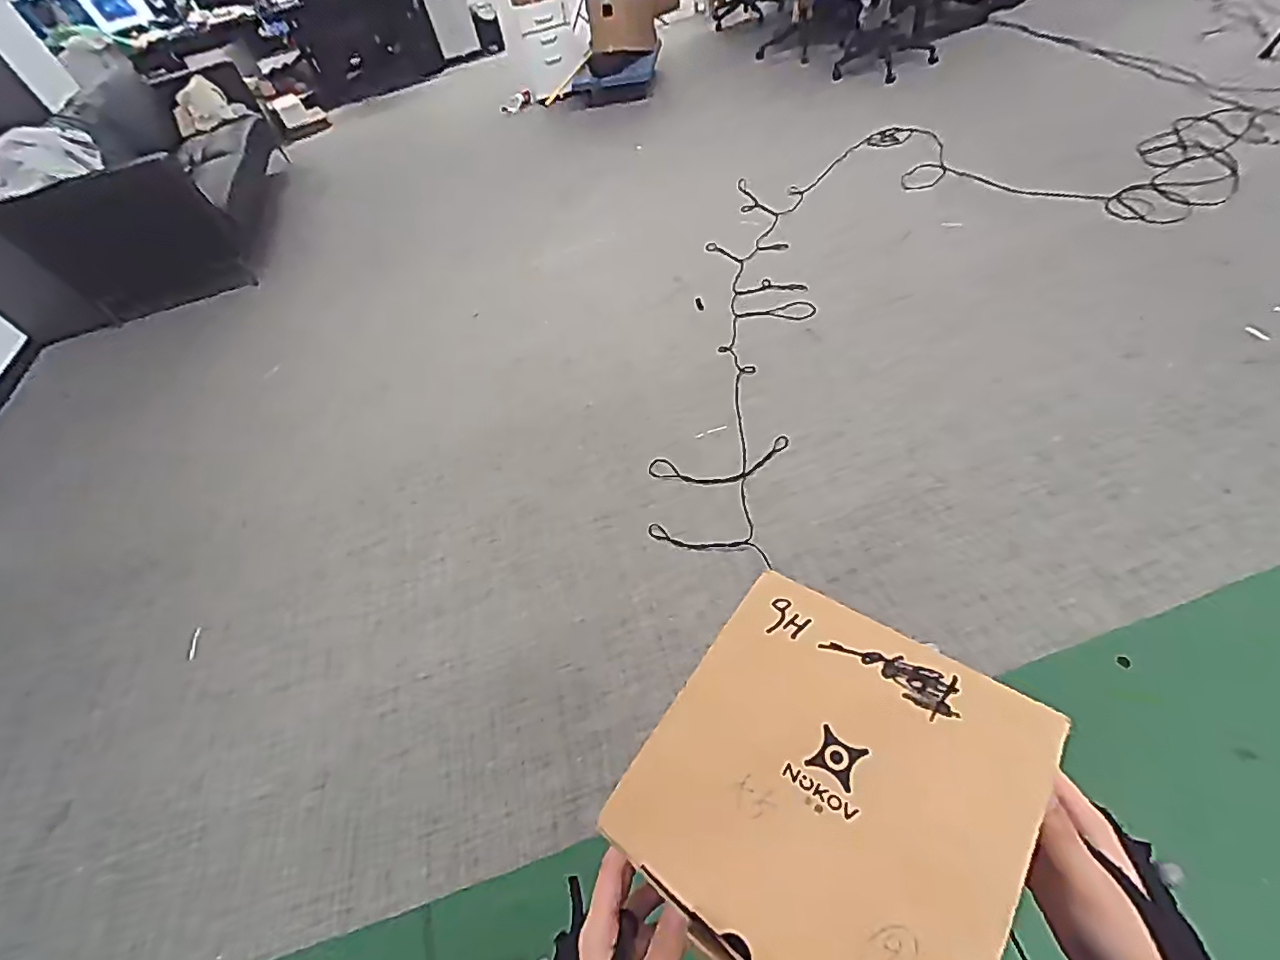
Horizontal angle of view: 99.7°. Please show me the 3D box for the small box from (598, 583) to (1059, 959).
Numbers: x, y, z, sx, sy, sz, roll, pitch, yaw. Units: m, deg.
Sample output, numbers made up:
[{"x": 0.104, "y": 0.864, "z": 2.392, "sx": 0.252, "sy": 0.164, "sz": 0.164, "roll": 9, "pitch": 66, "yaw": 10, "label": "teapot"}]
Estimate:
[{"x": 0.107, "y": 0.204, "z": 0.328, "sx": 0.168, "sy": 0.176, "sz": 0.179, "roll": 25, "pitch": 60, "yaw": 32, "label": "small box"}]
